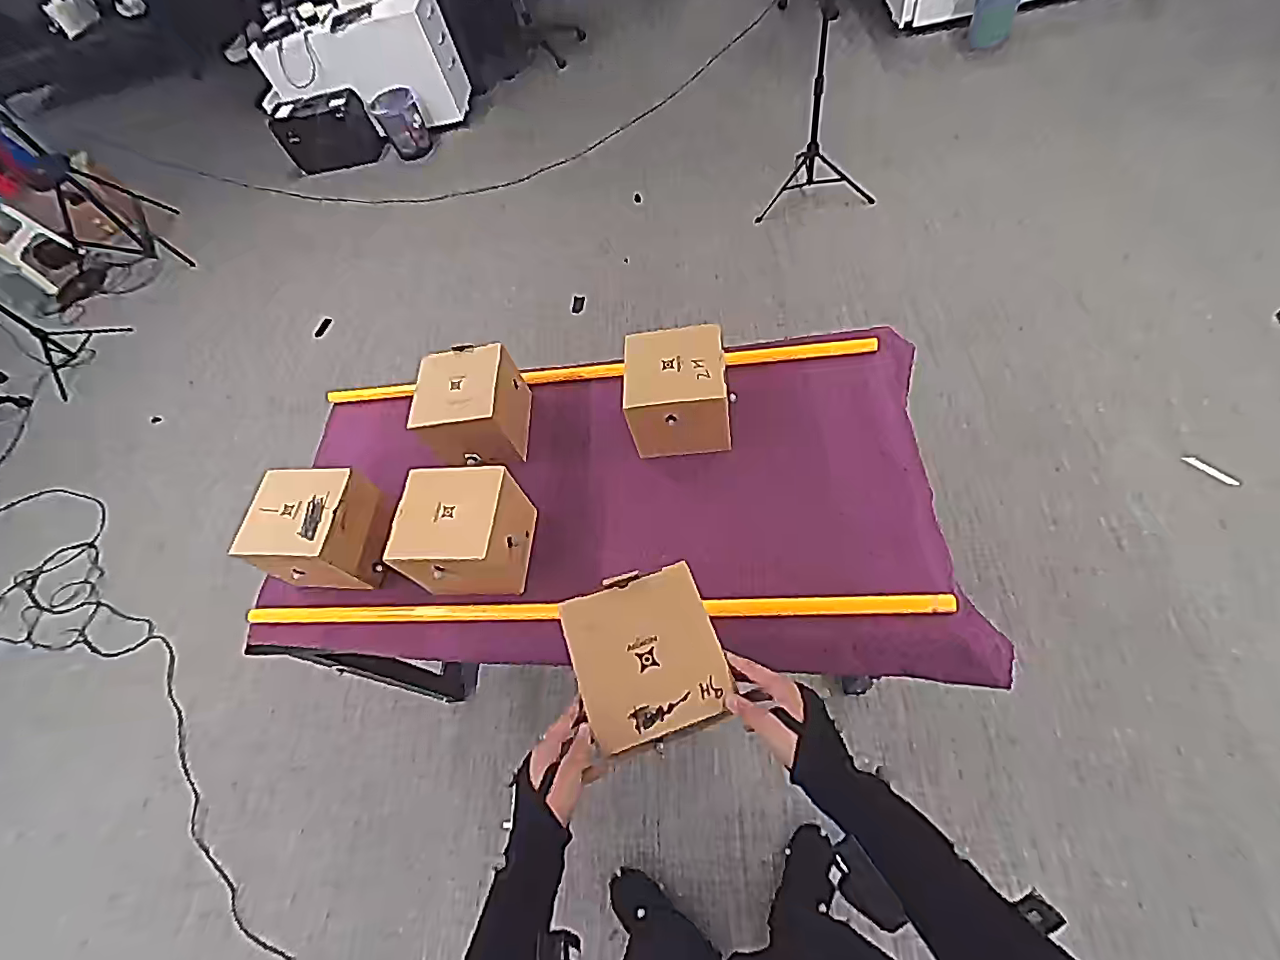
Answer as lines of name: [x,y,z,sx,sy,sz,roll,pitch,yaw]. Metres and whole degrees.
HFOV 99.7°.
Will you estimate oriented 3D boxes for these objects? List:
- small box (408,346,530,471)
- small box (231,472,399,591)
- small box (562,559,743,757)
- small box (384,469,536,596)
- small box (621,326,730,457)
small box: [-0.325,-0.135,1.068,0.168,0.176,0.179,-7,60,9]
small box: [-0.571,0.097,0.982,0.179,0.176,0.168,-1,60,11]
small box: [0.011,0.228,0.678,0.168,0.176,0.179,-17,62,-6]
small box: [-0.293,0.095,0.928,0.179,0.176,0.168,-3,60,11]
small box: [0.070,-0.154,0.995,0.179,0.176,0.168,-4,61,9]
